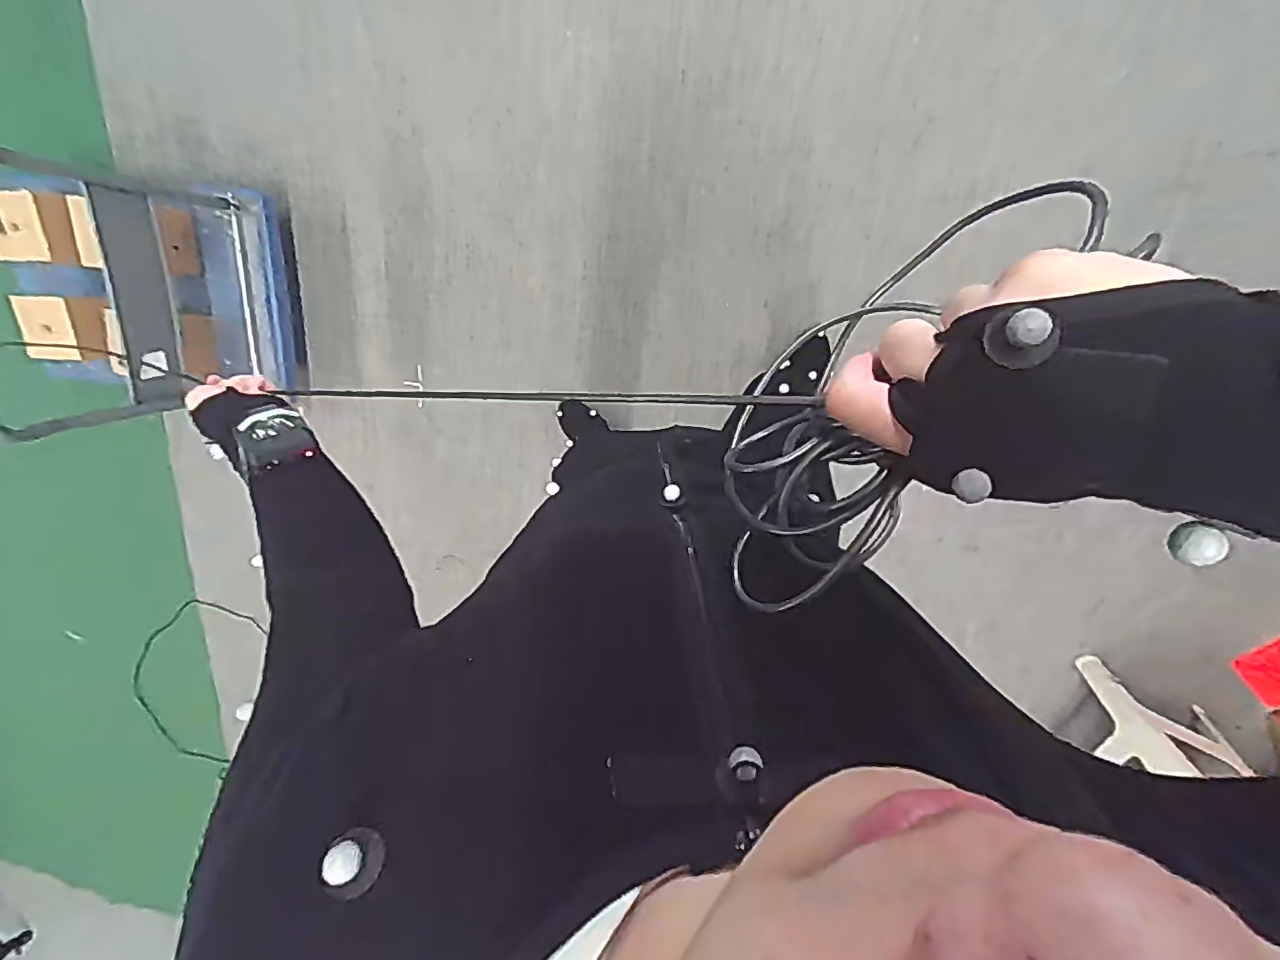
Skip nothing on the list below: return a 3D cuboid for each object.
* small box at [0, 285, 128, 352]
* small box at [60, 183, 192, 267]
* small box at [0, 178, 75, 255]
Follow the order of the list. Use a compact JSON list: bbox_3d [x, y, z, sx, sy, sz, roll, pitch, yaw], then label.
[{"bbox_3d":[-1.595,-0.454,1.514,0.179,0.176,0.168,5,108,8],"label":"small box"},{"bbox_3d":[-1.323,-0.654,1.403,0.179,0.176,0.168,9,109,6],"label":"small box"},{"bbox_3d":[-1.588,-0.693,1.435,0.179,0.176,0.168,5,109,7],"label":"small box"}]
